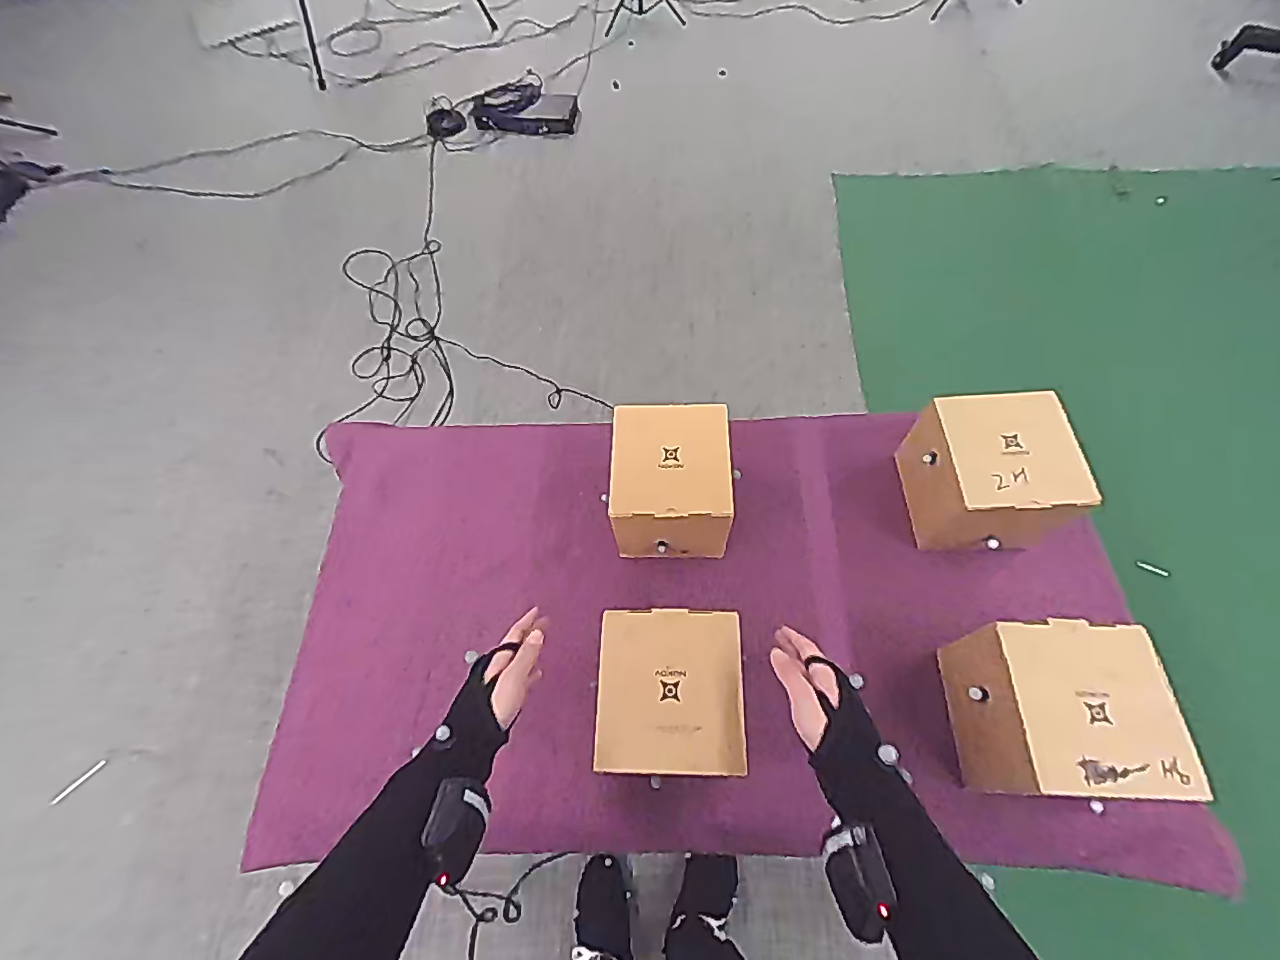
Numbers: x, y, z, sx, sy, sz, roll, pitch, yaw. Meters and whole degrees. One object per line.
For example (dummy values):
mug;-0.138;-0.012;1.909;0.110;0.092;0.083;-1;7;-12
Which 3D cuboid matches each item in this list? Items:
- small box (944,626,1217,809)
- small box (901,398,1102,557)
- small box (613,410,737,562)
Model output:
small box;0.492;0.285;0.644;0.168;0.176;0.179;0;60;5
small box;0.505;0.001;0.790;0.168;0.176;0.179;-3;63;5
small box;0.050;0.012;0.815;0.168;0.176;0.179;0;64;2
